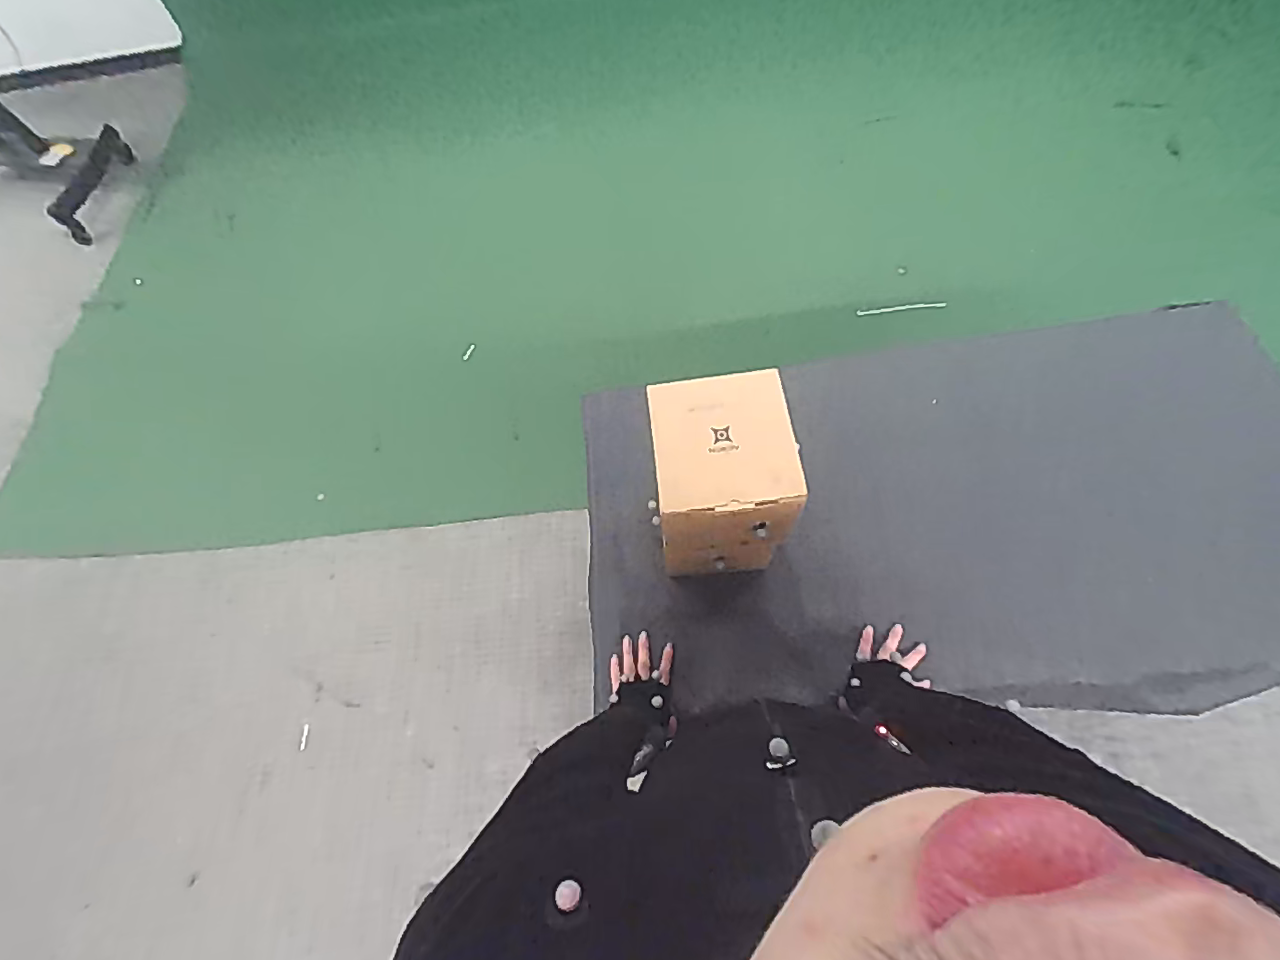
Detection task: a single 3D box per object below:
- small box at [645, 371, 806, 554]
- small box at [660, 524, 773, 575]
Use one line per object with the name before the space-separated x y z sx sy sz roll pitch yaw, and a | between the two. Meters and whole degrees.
small box | 0.102 -0.012 0.698 0.168 0.176 0.179 -7 63 2
small box | 0.115 0.046 0.850 0.168 0.176 0.179 -5 64 3
